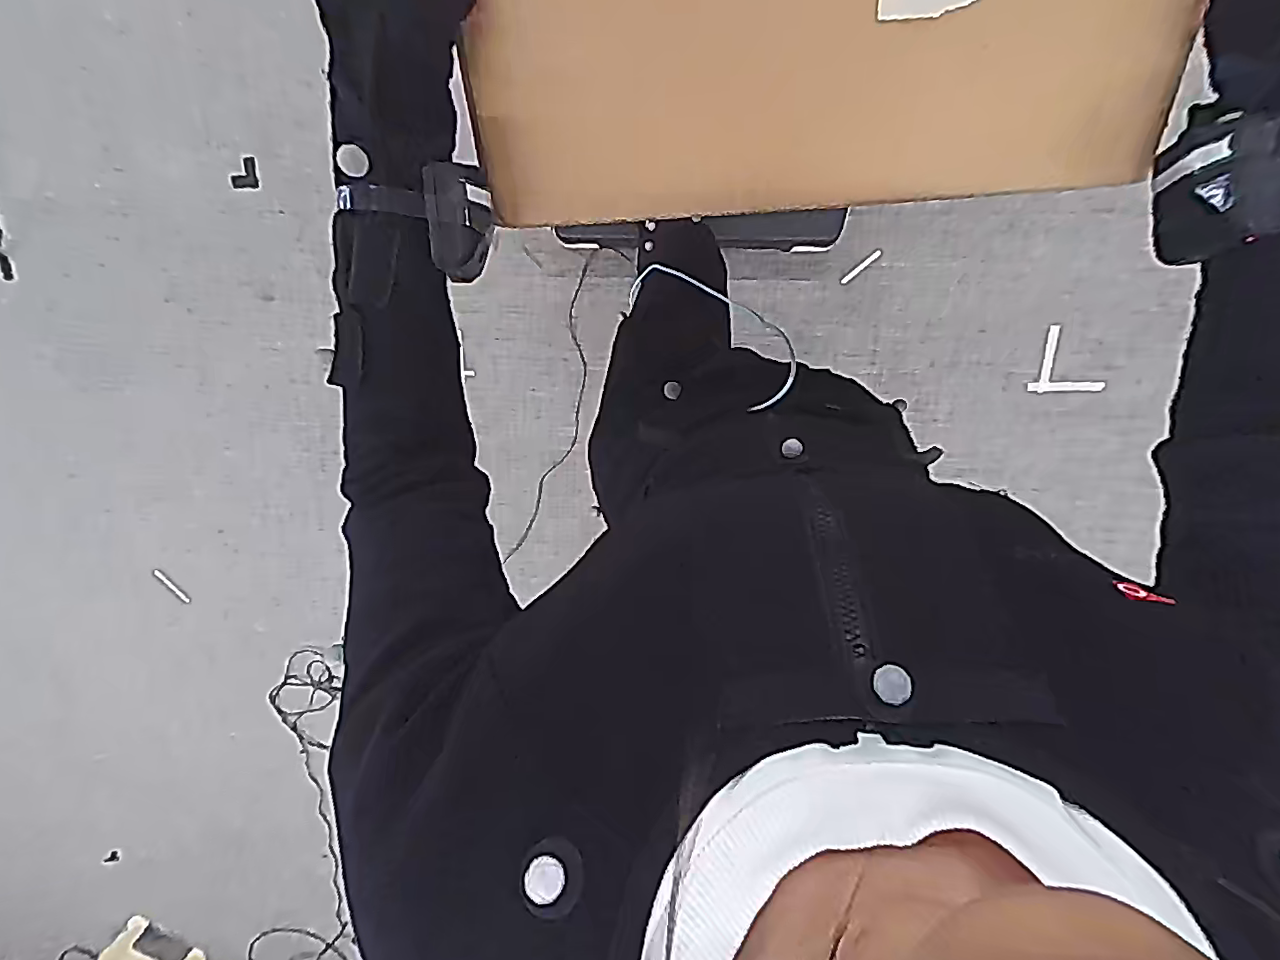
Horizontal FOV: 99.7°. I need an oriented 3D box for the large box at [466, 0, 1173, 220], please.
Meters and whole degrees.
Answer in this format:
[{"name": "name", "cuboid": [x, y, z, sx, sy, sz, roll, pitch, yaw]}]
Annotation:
[{"name": "large box", "cuboid": [0.103, -0.397, 0.412, 0.408, 0.320, 0.320, -1, 120, 8]}]
